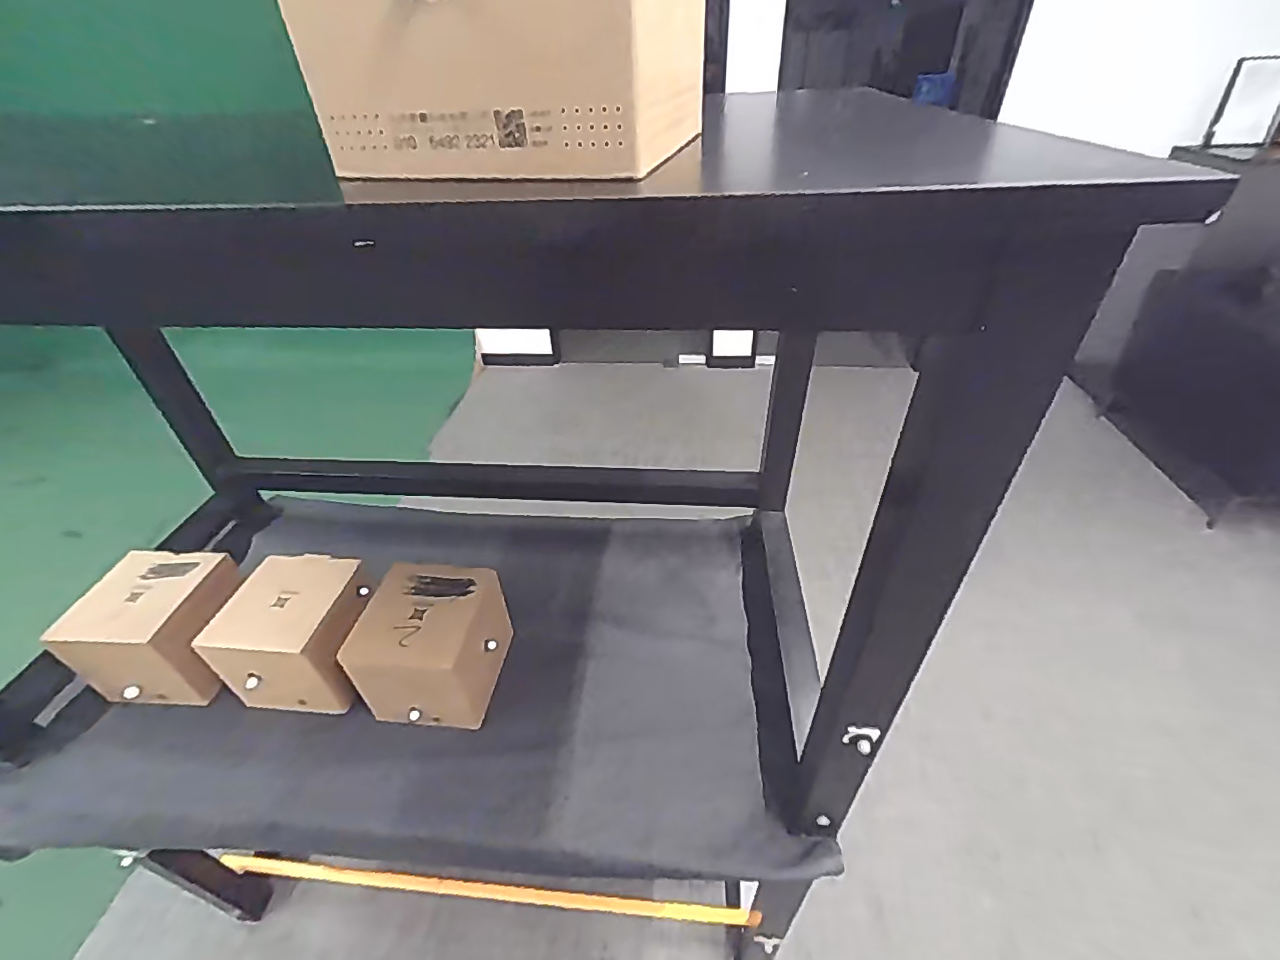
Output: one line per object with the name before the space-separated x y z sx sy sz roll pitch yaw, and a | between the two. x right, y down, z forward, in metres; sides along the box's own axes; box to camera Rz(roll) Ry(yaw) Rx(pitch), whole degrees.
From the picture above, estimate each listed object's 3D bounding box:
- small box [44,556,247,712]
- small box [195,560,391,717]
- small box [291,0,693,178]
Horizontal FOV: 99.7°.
small box | -0.748 0.243 0.865 0.168 0.176 0.179 0 38 4
small box | -0.522 0.248 0.850 0.168 0.176 0.179 2 37 5
small box | -0.064 -0.265 0.285 0.168 0.176 0.179 7 38 12
